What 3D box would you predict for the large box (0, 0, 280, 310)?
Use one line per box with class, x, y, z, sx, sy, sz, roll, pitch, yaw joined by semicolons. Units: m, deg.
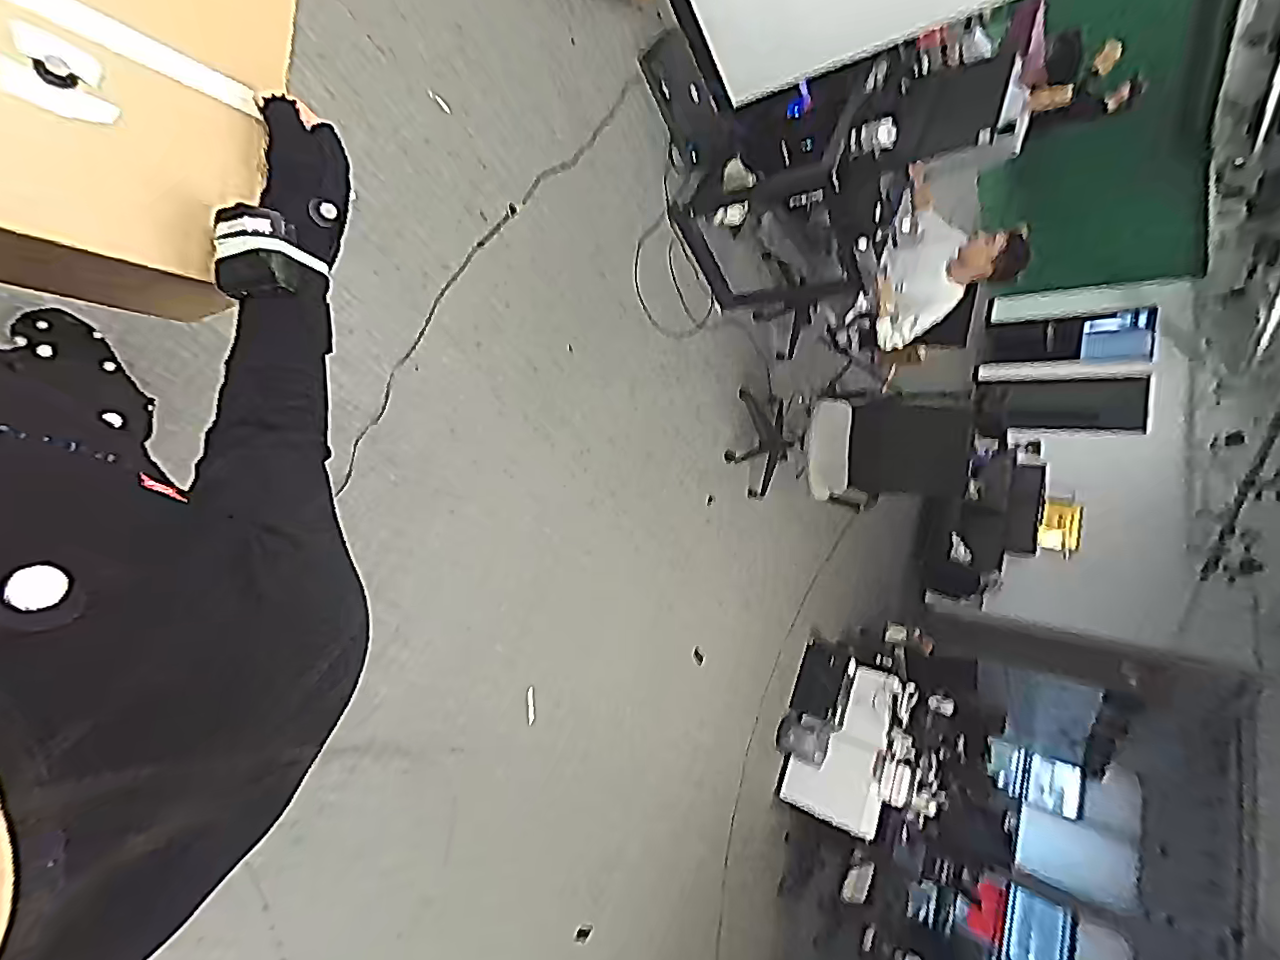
large box;-0.569;-0.350;0.422;0.408;0.320;0.320;4;94;-51
